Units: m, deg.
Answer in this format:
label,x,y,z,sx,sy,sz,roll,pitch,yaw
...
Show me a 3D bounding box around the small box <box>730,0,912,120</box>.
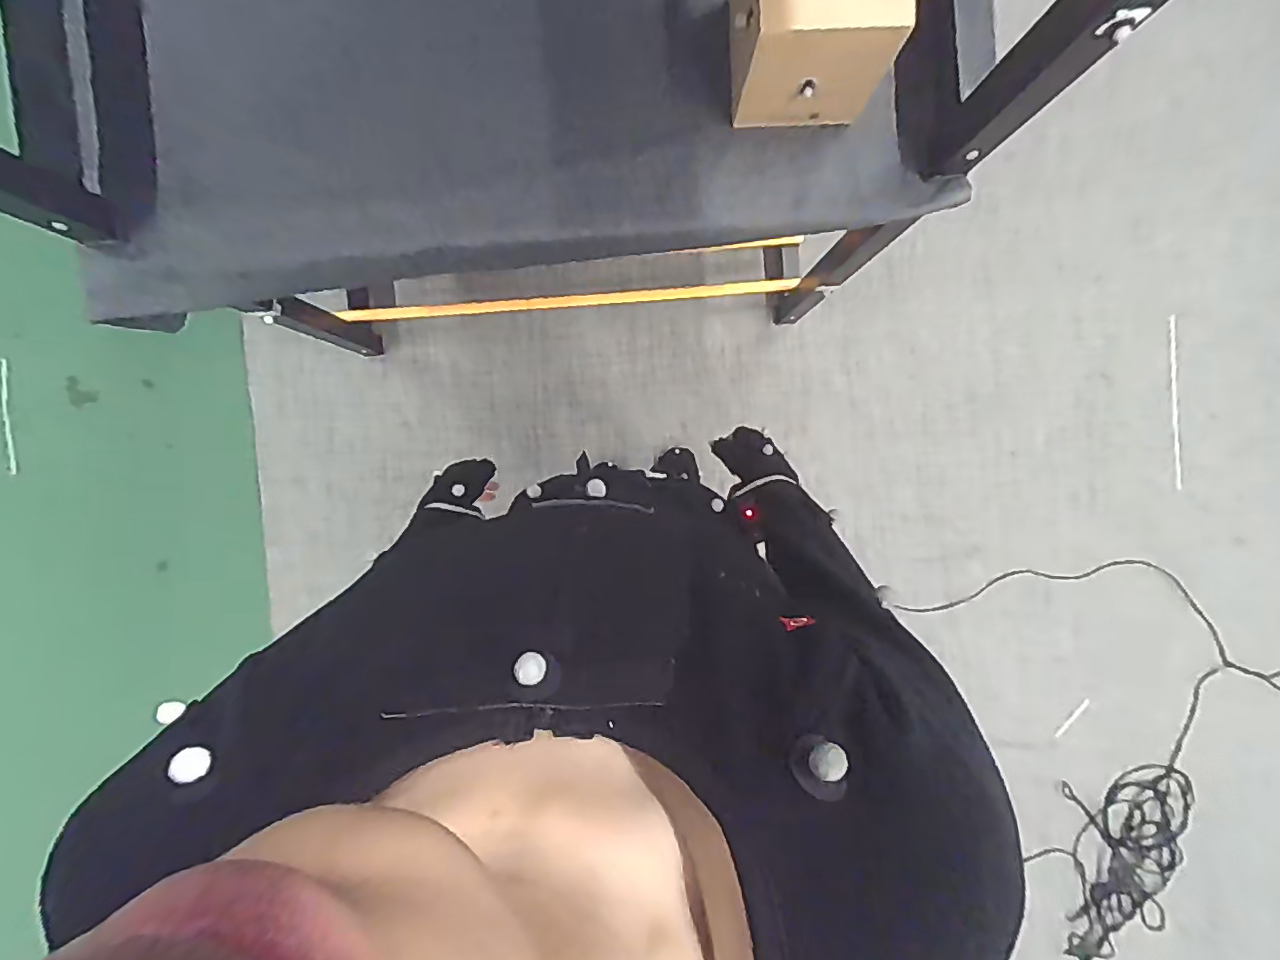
label,x,y,z,sx,sy,sz,roll,pitch,yaw
small box,0.204,-0.563,0.646,0.168,0.176,0.179,-1,92,-1
